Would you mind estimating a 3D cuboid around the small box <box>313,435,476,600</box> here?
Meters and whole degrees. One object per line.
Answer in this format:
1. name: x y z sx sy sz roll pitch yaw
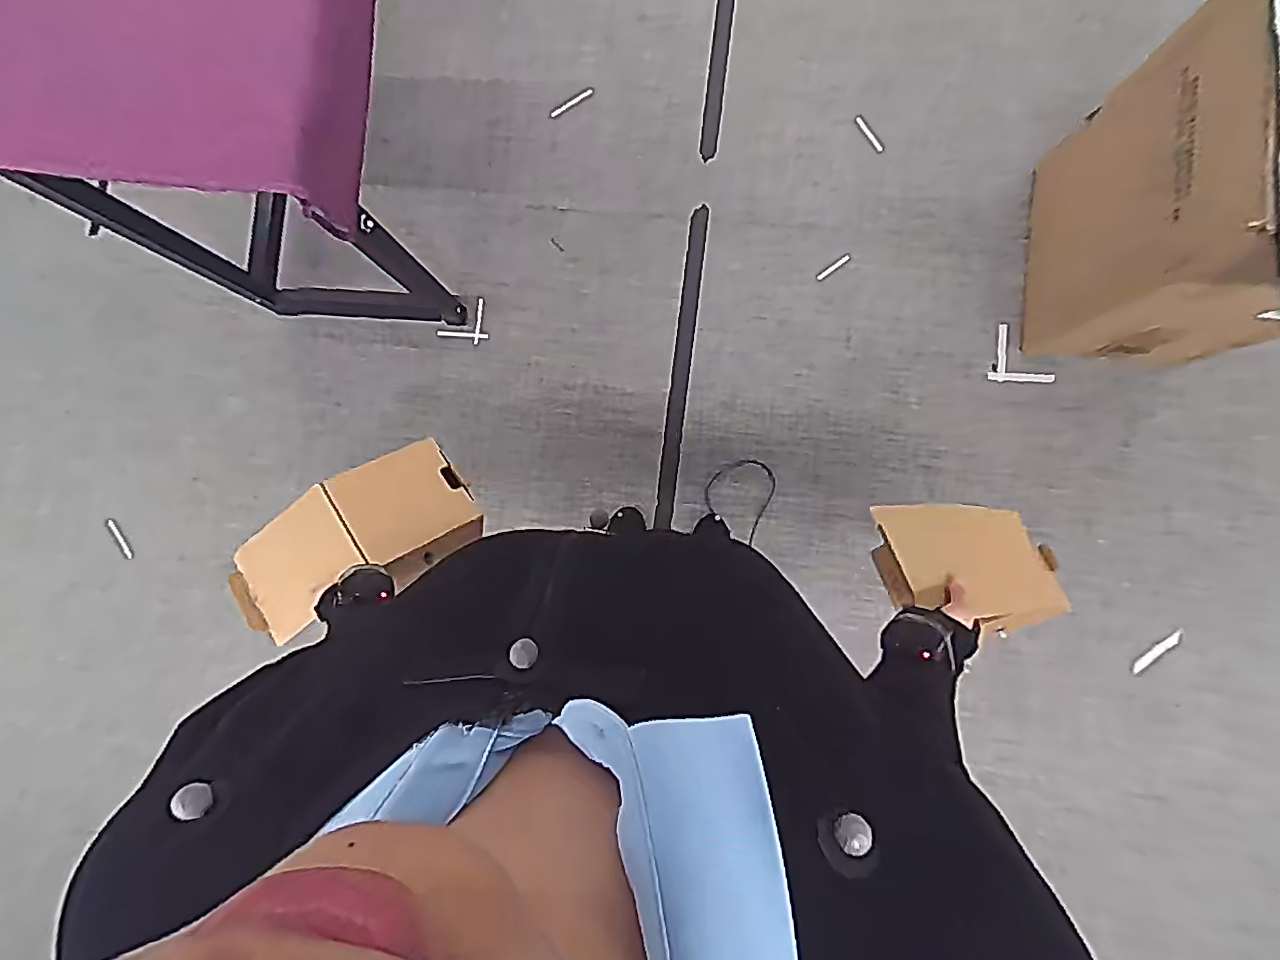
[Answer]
1. small box: -0.378 0.065 0.862 0.179 0.176 0.168 -30 75 -29
